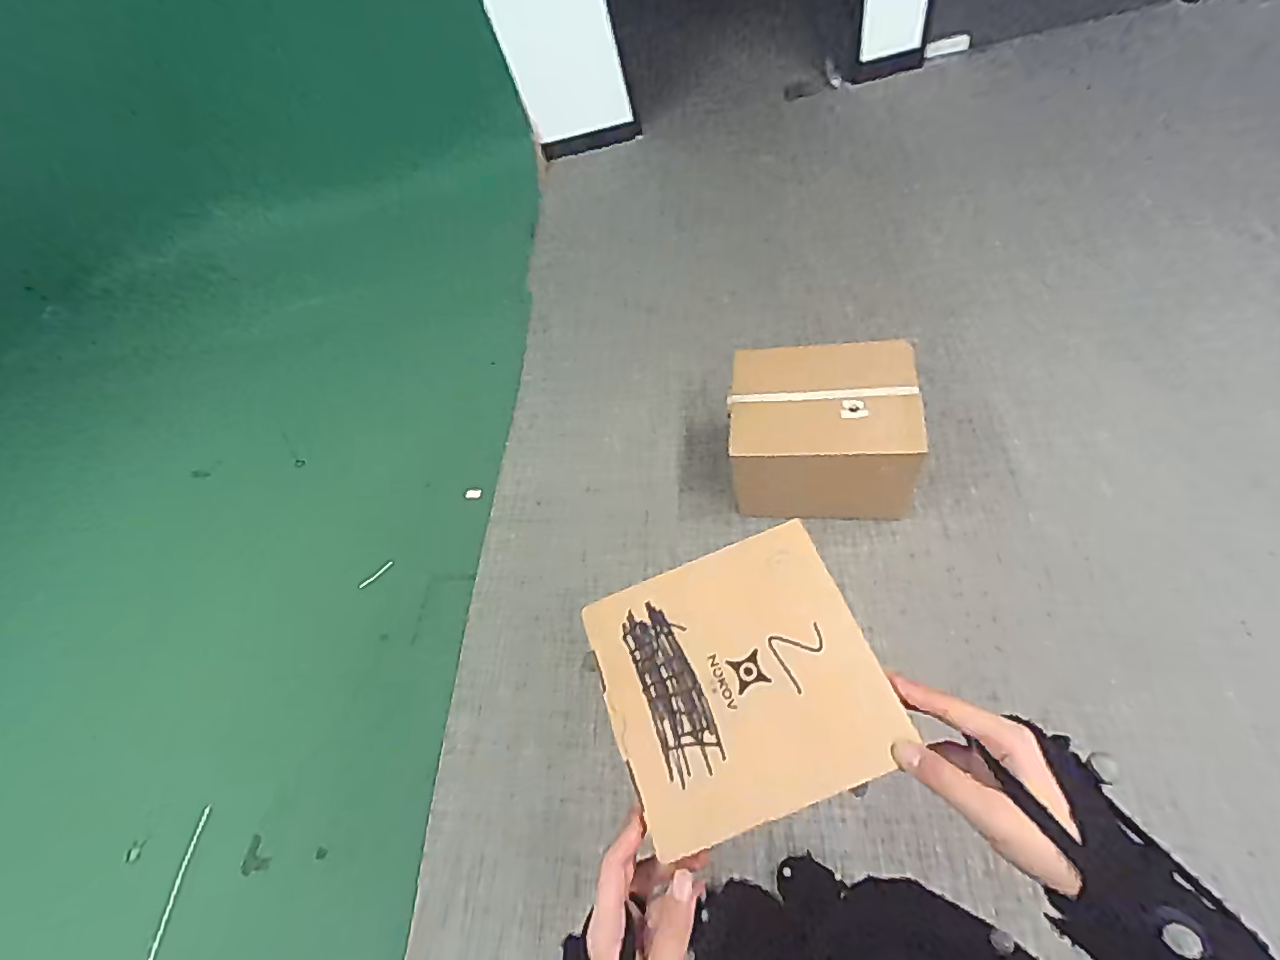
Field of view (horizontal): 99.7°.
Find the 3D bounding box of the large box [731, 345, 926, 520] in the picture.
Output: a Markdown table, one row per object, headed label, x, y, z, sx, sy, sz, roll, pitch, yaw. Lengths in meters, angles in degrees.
| label | x | y | z | sx | sy | sz | roll | pitch | yaw |
| --- | --- | --- | --- | --- | --- | --- | --- | --- | --- |
| large box | 0.440 | -0.102 | 1.342 | 0.408 | 0.320 | 0.320 | 0 | 60 | 15 |
